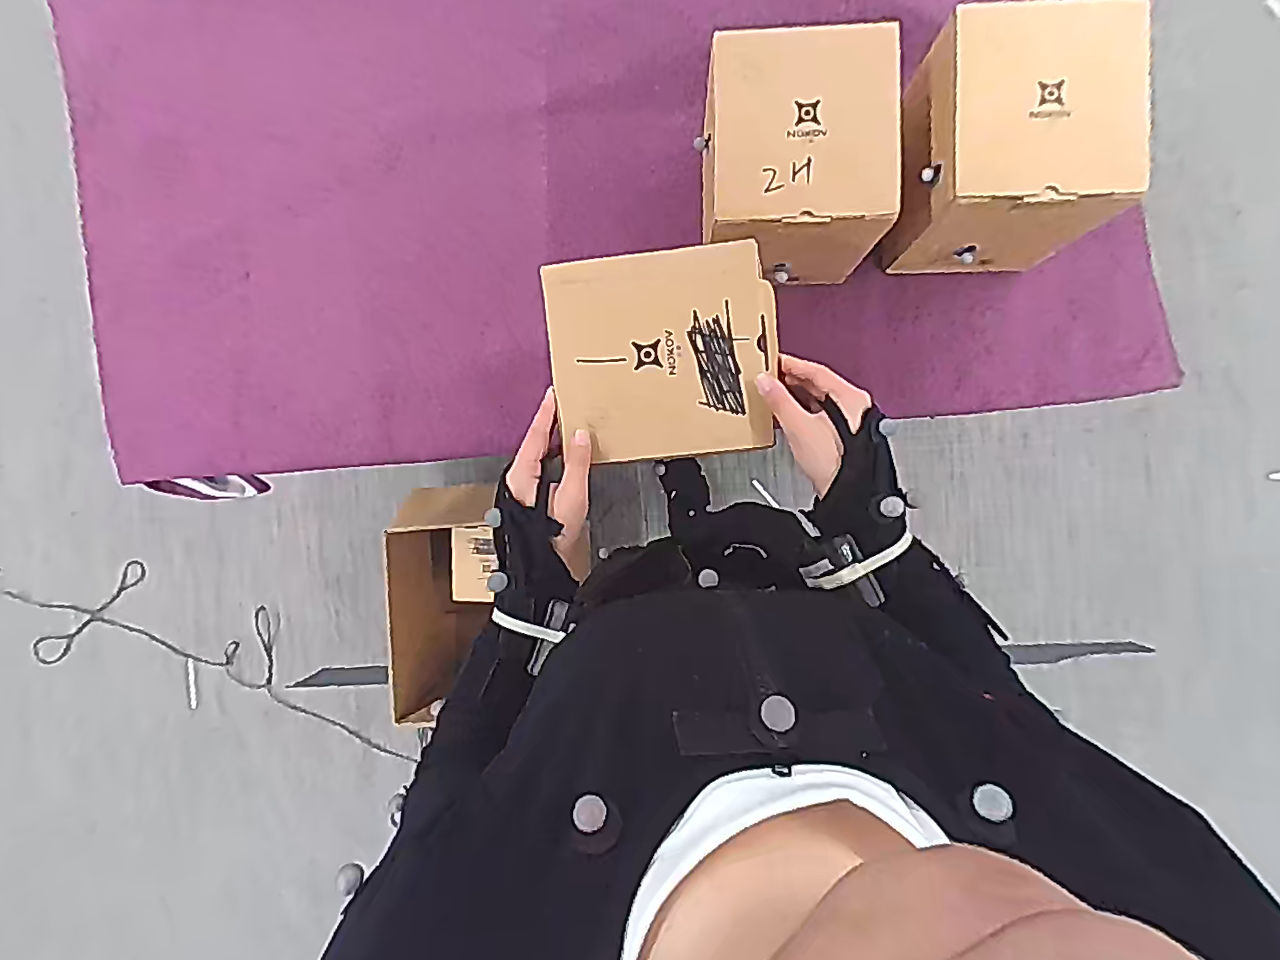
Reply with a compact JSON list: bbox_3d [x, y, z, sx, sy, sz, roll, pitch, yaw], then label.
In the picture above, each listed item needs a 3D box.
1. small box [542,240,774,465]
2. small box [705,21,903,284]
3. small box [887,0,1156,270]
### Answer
[{"bbox_3d":[0.017,-0.105,0.512,0.179,0.176,0.168,-6,92,3],"label":"small box"},{"bbox_3d":[0.155,-0.320,0.562,0.168,0.176,0.179,0,91,4],"label":"small box"},{"bbox_3d":[0.364,-0.333,0.549,0.168,0.176,0.179,0,90,4],"label":"small box"}]
